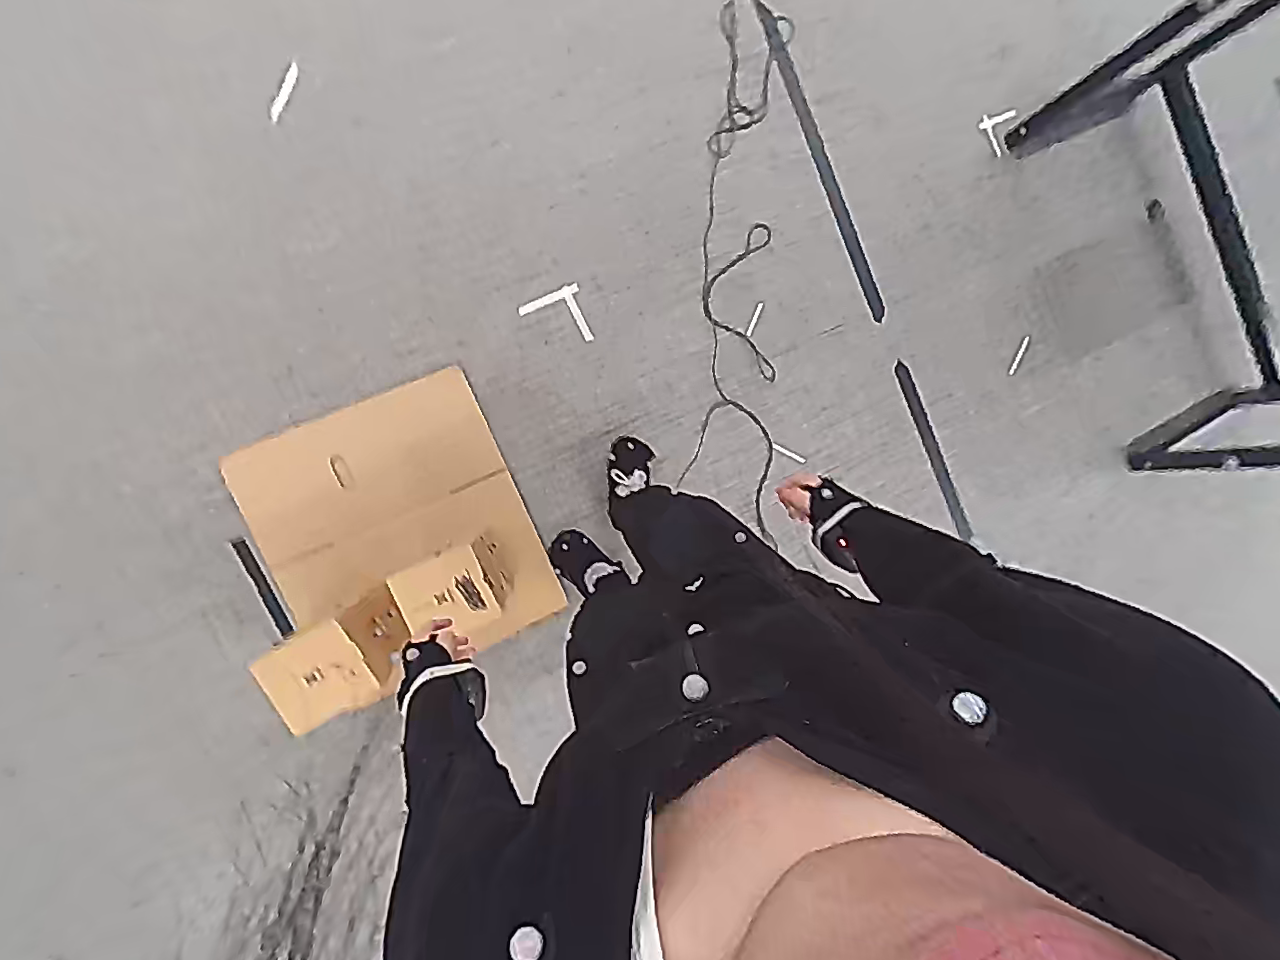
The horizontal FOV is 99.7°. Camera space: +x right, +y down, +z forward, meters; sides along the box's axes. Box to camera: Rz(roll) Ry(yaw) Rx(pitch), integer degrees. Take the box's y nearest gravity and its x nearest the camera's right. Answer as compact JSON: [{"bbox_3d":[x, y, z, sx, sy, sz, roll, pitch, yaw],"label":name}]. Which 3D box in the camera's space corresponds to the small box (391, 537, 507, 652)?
[{"bbox_3d":[-0.393,0.231,1.147,0.179,0.176,0.168,-24,94,-10],"label":"small box"}]

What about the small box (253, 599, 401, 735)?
[{"bbox_3d":[-0.622,0.369,1.100,0.179,0.176,0.168,-31,97,-10],"label":"small box"}]

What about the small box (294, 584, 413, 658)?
[{"bbox_3d":[-0.655,0.364,1.262,0.179,0.176,0.168,-33,96,-10],"label":"small box"}]

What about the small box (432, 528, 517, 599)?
[{"bbox_3d":[-0.413,0.229,1.311,0.179,0.176,0.168,-27,94,-9],"label":"small box"}]
